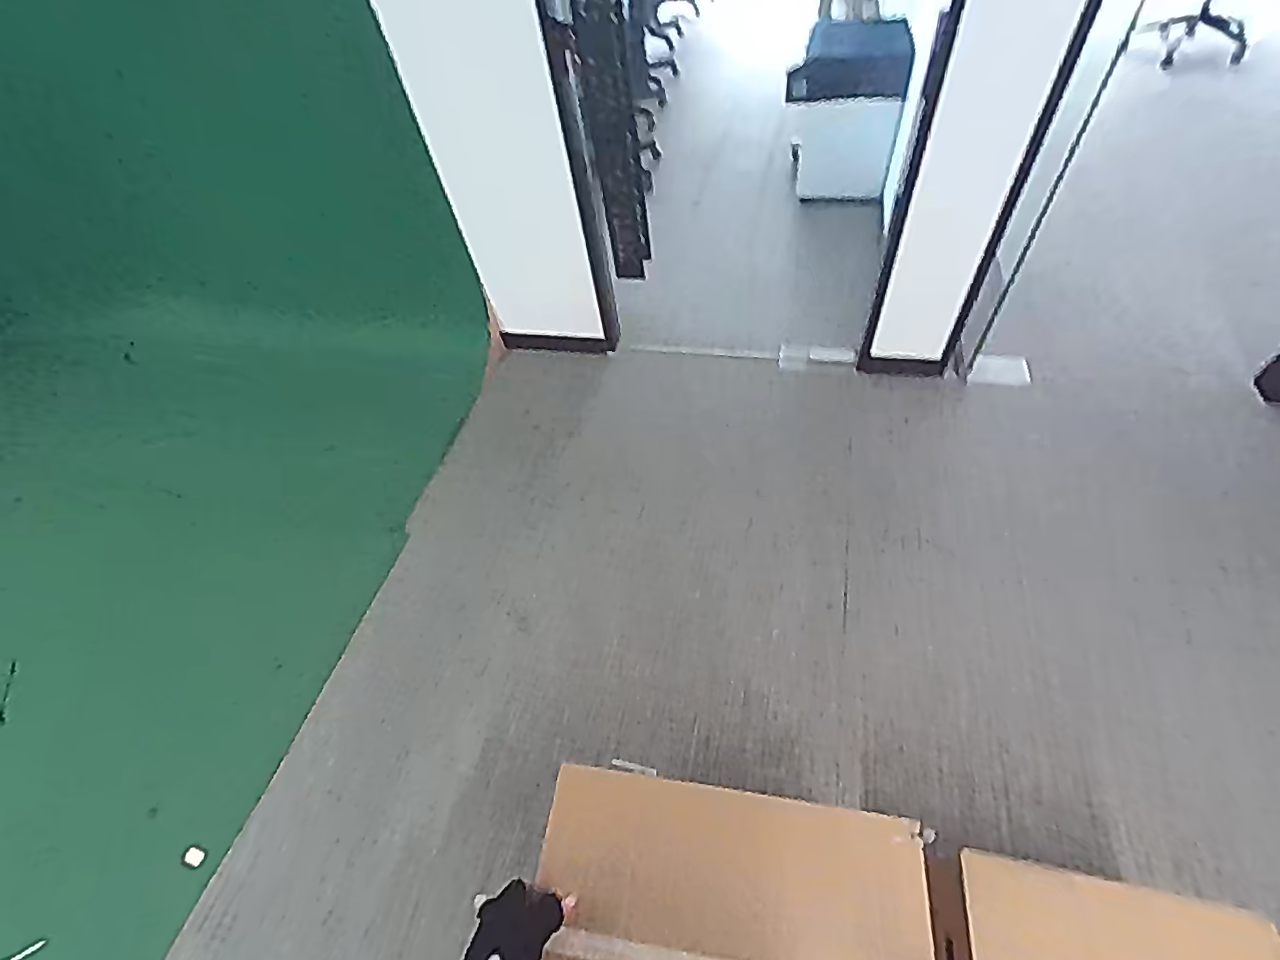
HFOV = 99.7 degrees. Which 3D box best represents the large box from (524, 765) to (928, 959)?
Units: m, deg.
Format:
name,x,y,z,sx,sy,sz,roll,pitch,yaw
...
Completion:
name,x,y,z,sx,sy,sz,roll,pitch,yaw
large box,0.089,0.565,0.655,0.408,0.320,0.320,4,56,8
